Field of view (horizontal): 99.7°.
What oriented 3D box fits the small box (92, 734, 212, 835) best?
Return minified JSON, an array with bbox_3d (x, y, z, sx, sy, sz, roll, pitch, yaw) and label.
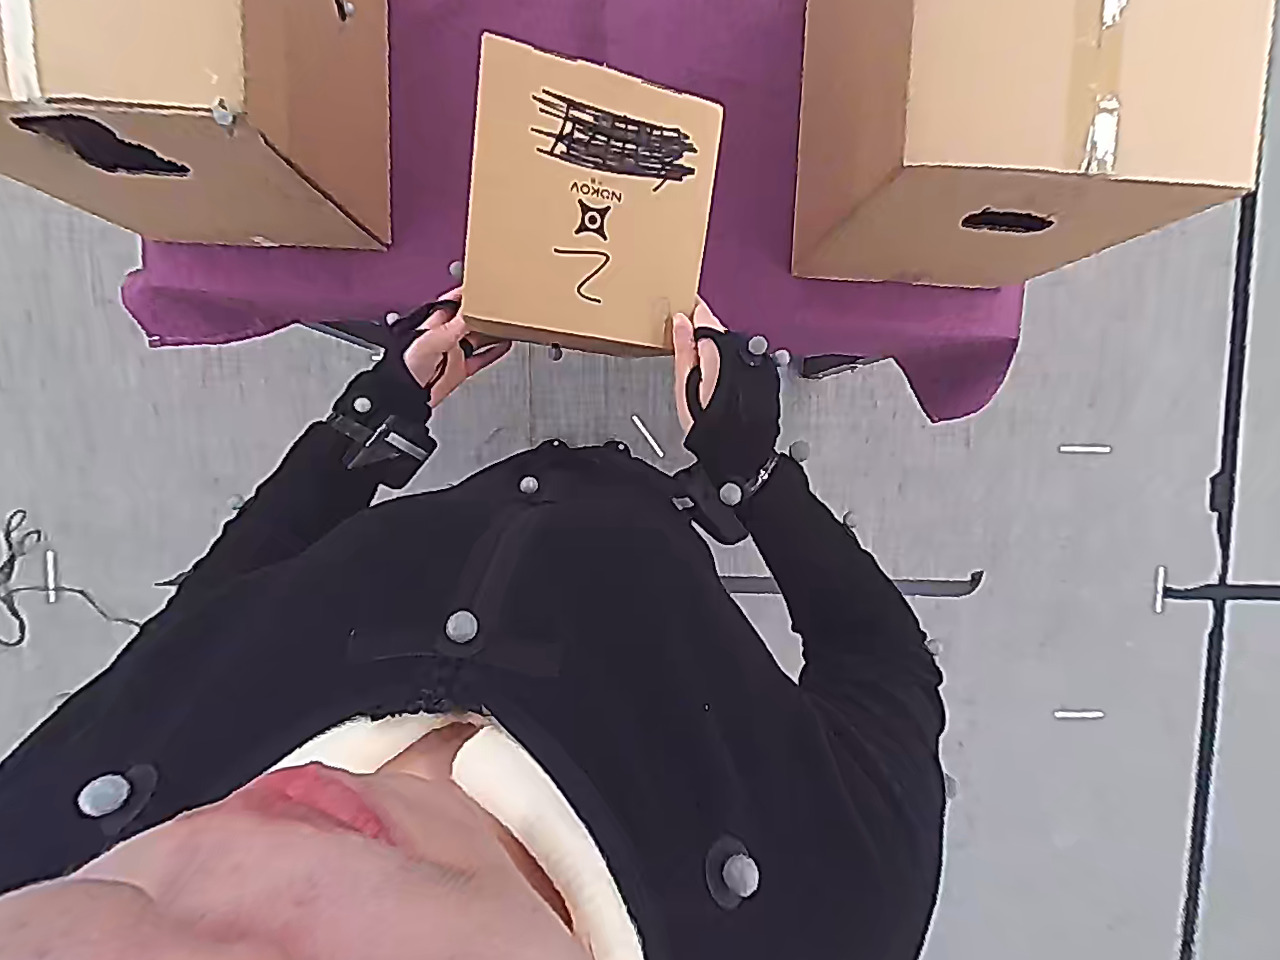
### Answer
[{"bbox_3d":[-1.272,0.793,1.421,0.179,0.176,0.168,7,95,-3],"label":"small box"}]
